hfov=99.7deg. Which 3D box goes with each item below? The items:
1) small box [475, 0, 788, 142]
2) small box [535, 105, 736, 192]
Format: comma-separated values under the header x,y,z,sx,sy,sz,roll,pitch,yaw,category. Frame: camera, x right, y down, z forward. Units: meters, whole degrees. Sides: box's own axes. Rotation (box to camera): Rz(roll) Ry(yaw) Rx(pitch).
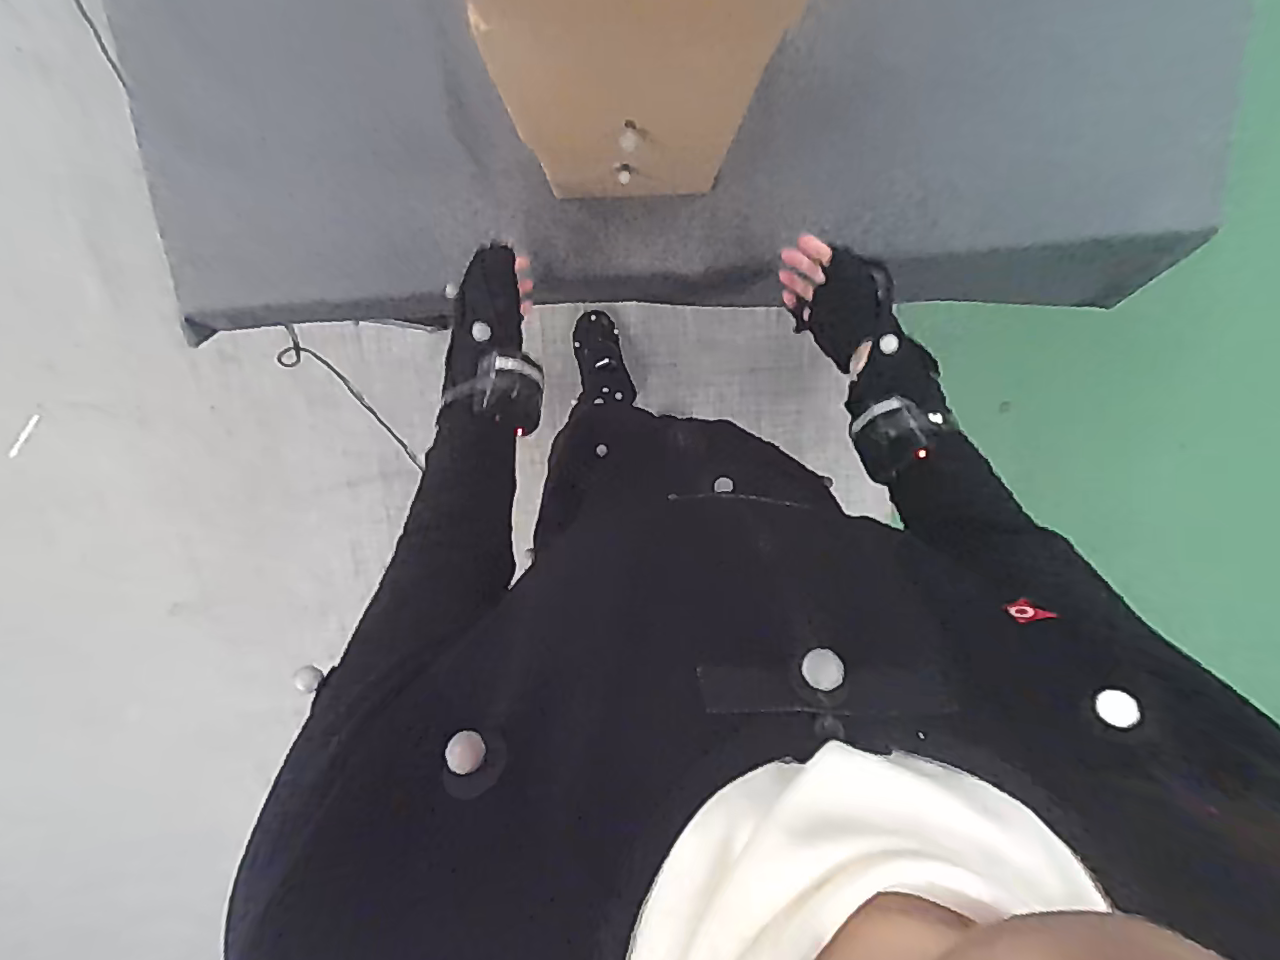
x,y,z,sx,sy,sz,roll,pitch,yaw,category
-0.009,-0.349,0.361,0.179,0.176,0.168,-2,101,-2,small box
-0.009,-0.391,0.519,0.179,0.176,0.168,-2,102,0,small box
